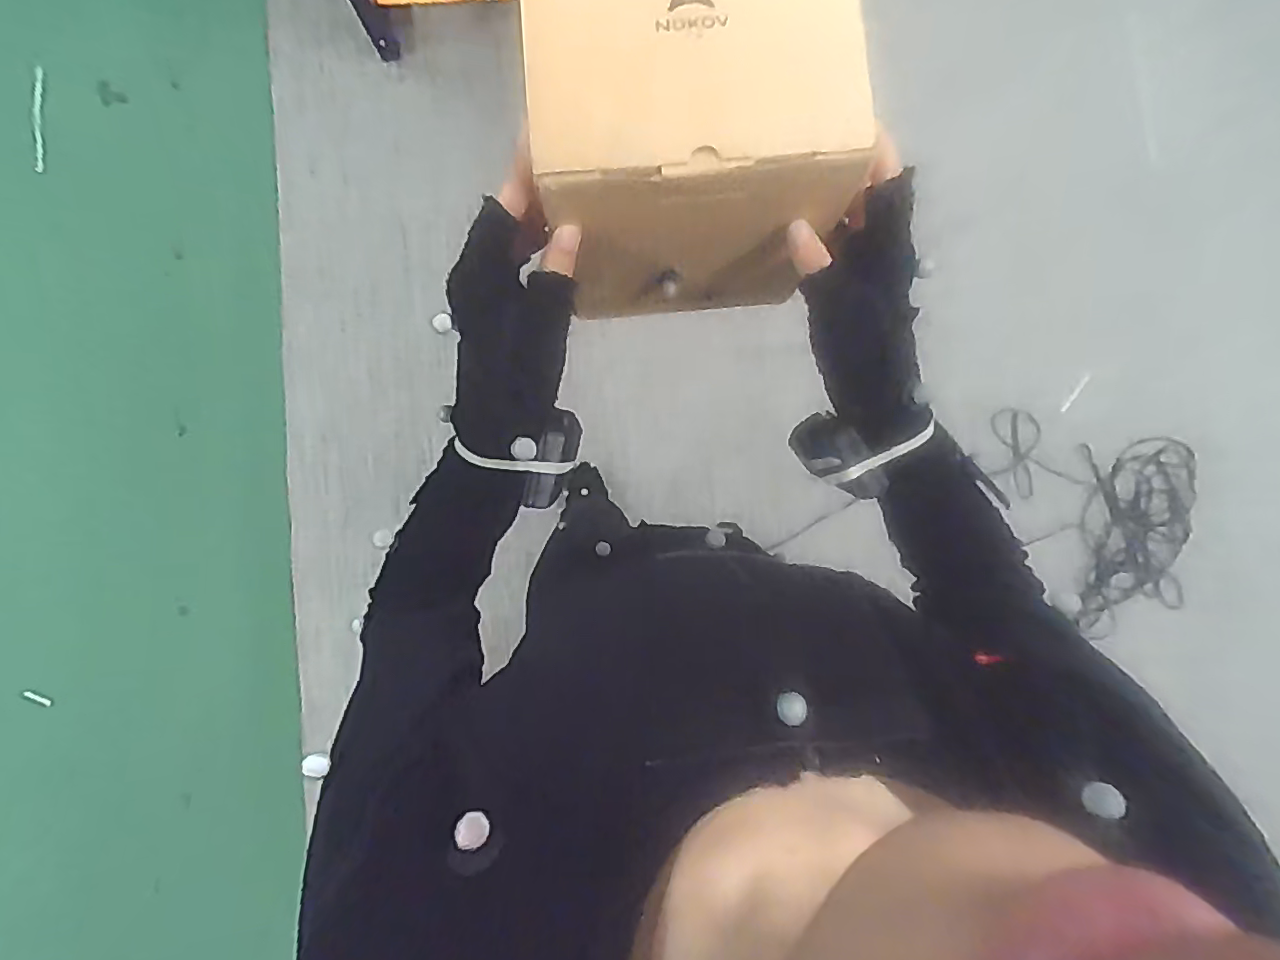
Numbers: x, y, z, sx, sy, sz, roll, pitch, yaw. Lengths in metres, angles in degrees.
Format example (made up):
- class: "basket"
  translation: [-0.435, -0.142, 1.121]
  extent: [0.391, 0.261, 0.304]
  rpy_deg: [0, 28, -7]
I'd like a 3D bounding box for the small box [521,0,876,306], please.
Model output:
- class: "small box"
  translation: [0.023, -0.231, 0.339]
  extent: [0.168, 0.176, 0.179]
  rpy_deg: [-5, 84, 0]
